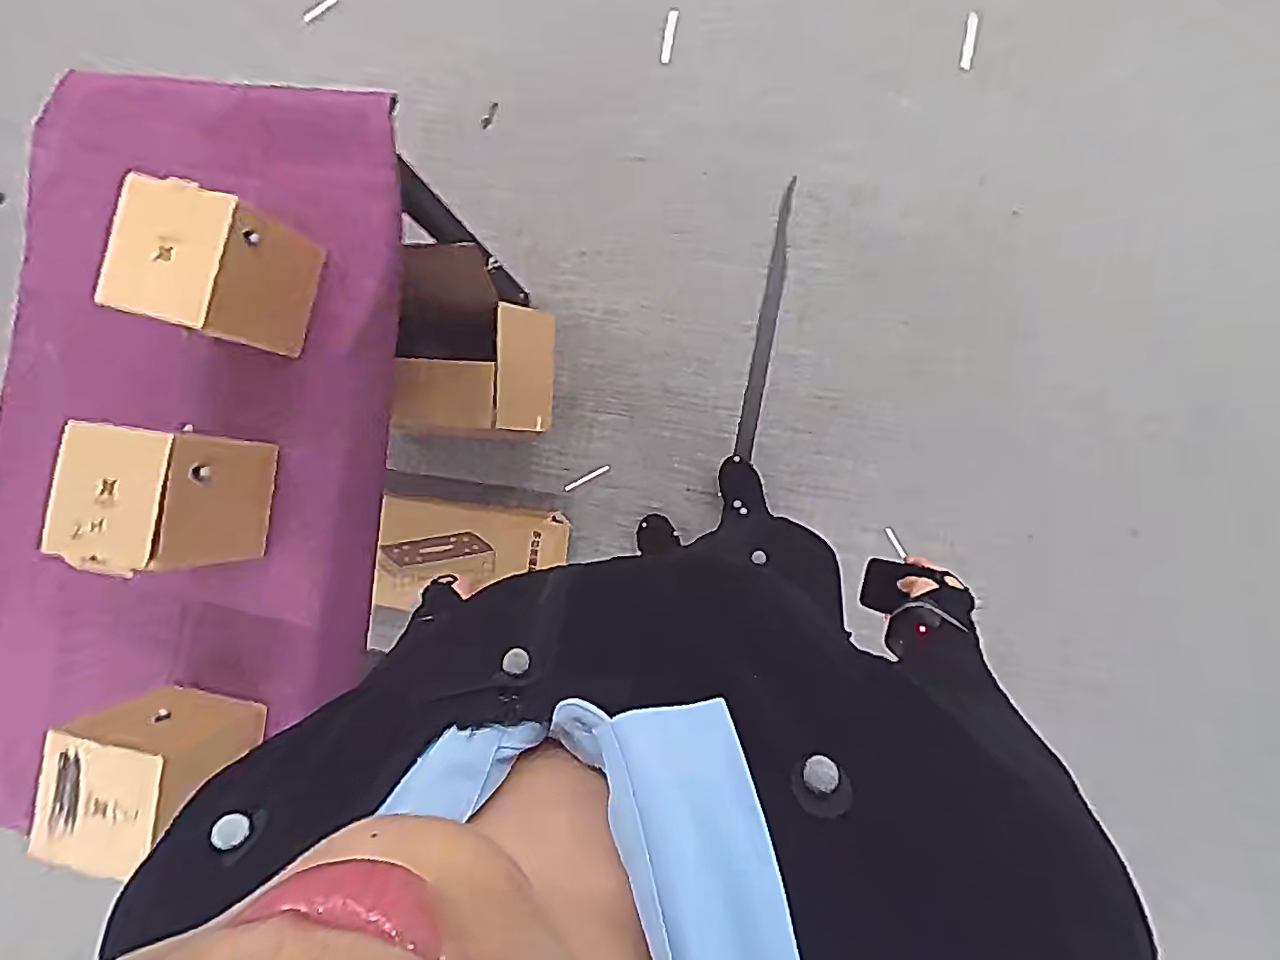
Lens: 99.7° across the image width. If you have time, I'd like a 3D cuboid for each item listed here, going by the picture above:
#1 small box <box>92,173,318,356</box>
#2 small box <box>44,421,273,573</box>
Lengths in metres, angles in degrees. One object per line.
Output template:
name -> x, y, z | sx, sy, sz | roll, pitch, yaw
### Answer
small box -> -0.595, -0.289, 0.762 | 0.168, 0.176, 0.179 | 14, 90, 7
small box -> -0.660, 0.023, 0.762 | 0.168, 0.176, 0.179 | 7, 90, 9
